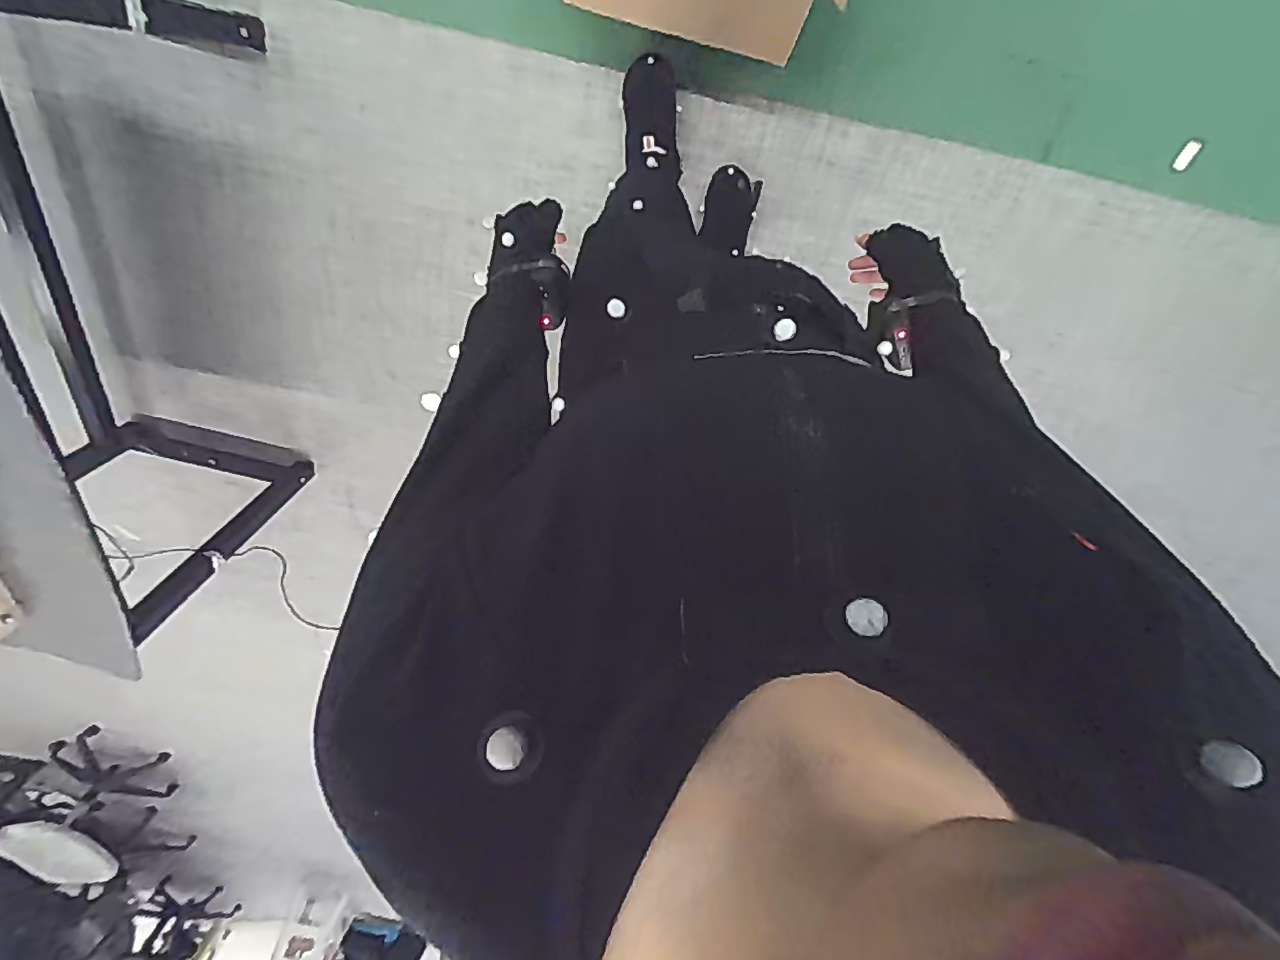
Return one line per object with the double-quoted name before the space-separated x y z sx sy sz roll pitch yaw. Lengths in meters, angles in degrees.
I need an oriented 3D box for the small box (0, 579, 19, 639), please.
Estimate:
"small box" -1.303 0.245 0.975 0.179 0.176 0.168 11 124 0
